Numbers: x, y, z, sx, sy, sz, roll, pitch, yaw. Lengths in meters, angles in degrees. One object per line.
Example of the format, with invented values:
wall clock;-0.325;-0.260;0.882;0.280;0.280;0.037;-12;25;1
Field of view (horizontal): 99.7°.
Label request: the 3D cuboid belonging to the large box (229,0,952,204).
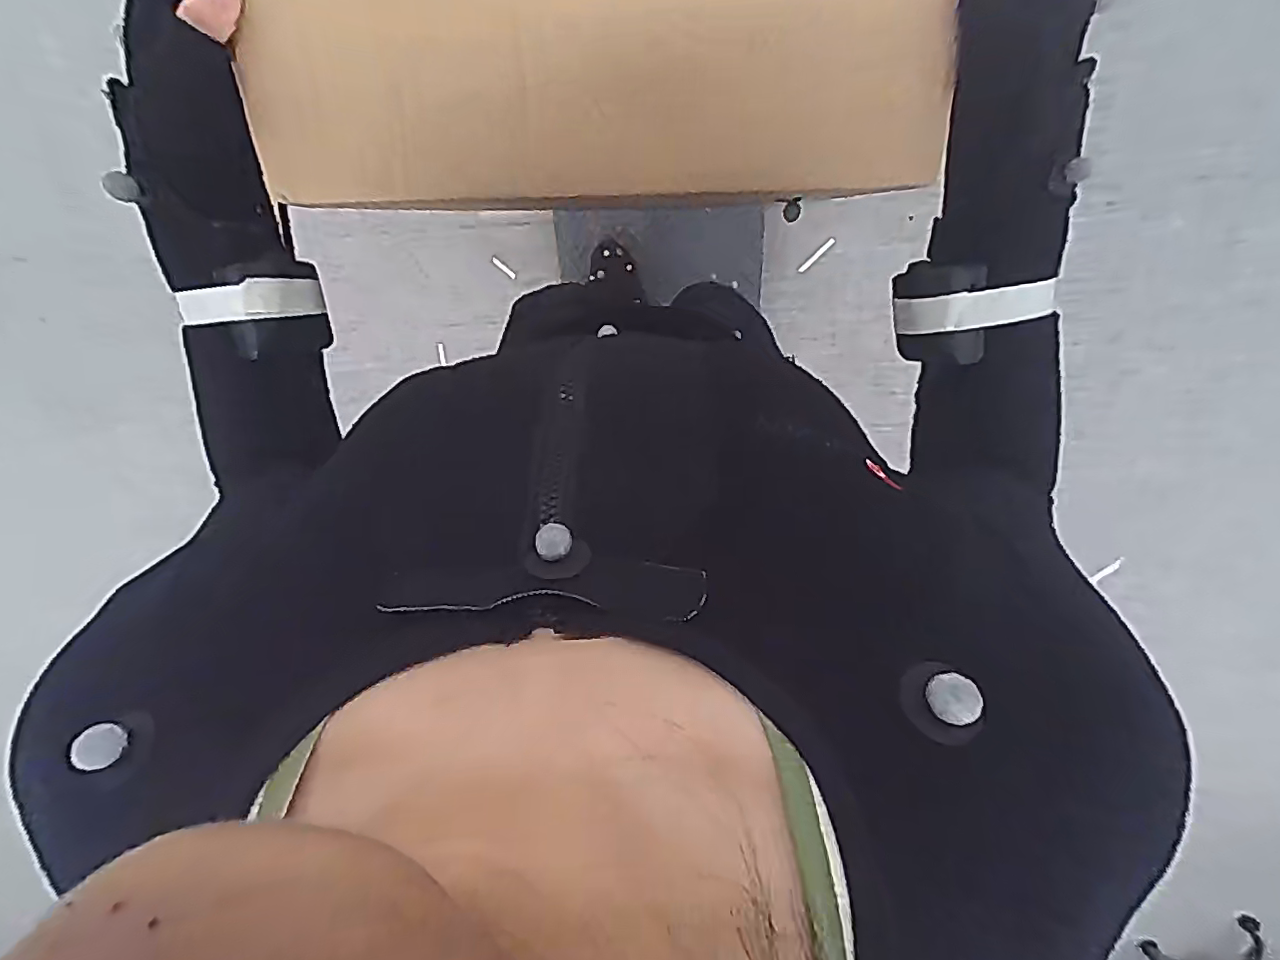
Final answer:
large box;-0.025;-0.385;0.403;0.408;0.320;0.320;0;115;1
